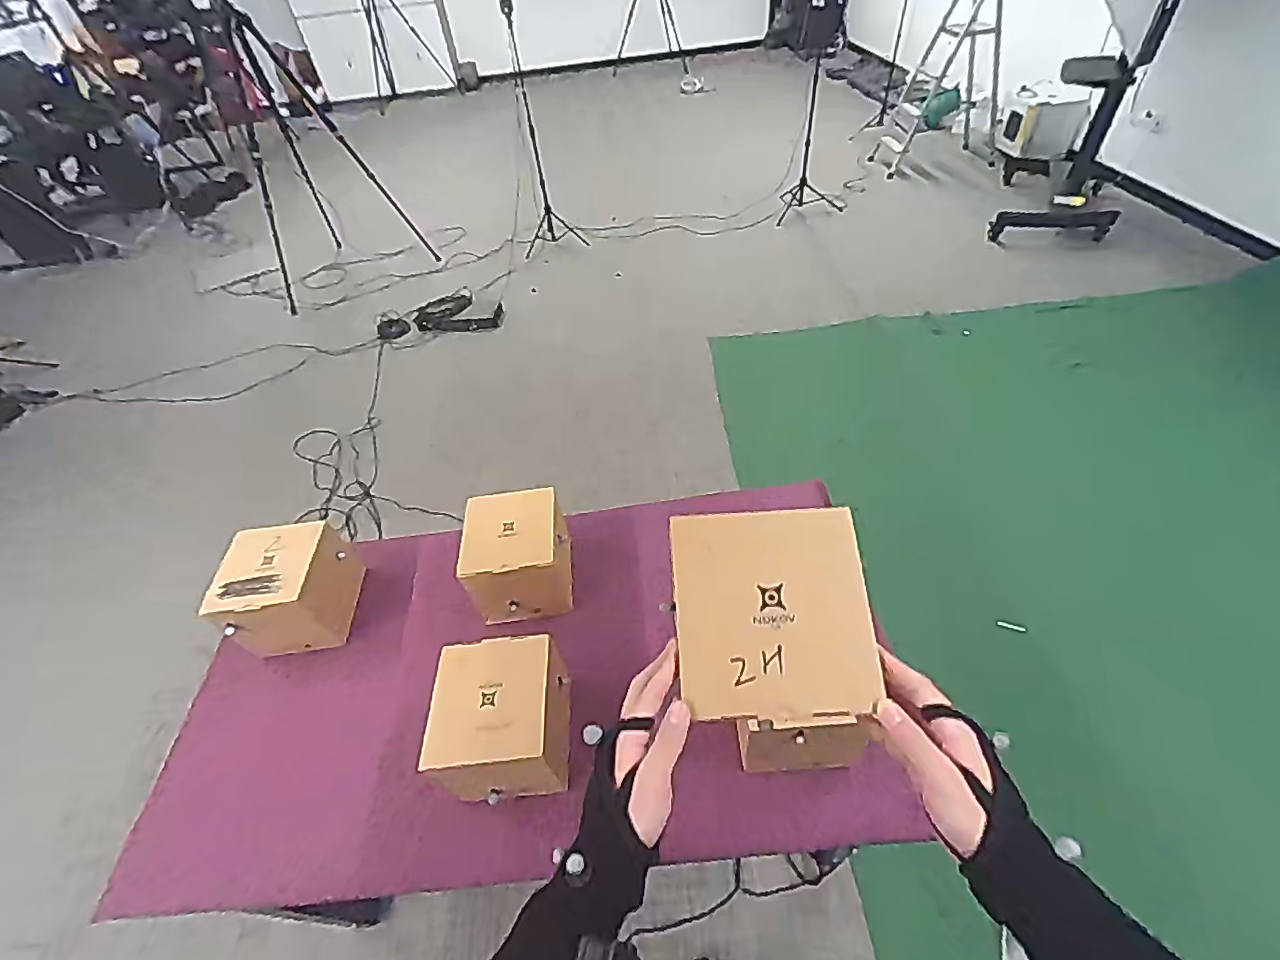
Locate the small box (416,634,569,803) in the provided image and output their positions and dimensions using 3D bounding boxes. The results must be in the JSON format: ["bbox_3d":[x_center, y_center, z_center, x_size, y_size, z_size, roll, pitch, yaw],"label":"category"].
[{"bbox_3d":[-0.202,0.353,0.798,0.168,0.176,0.179,-6,47,1],"label":"small box"}]

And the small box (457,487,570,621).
[{"bbox_3d":[-0.224,0.138,1.003,0.168,0.176,0.179,-7,48,-1],"label":"small box"}]

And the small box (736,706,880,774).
[{"bbox_3d":[0.225,0.307,0.791,0.168,0.176,0.179,-5,44,3],"label":"small box"}]

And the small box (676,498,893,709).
[{"bbox_3d":[0.121,0.130,0.533,0.168,0.176,0.179,-3,68,3],"label":"small box"}]
